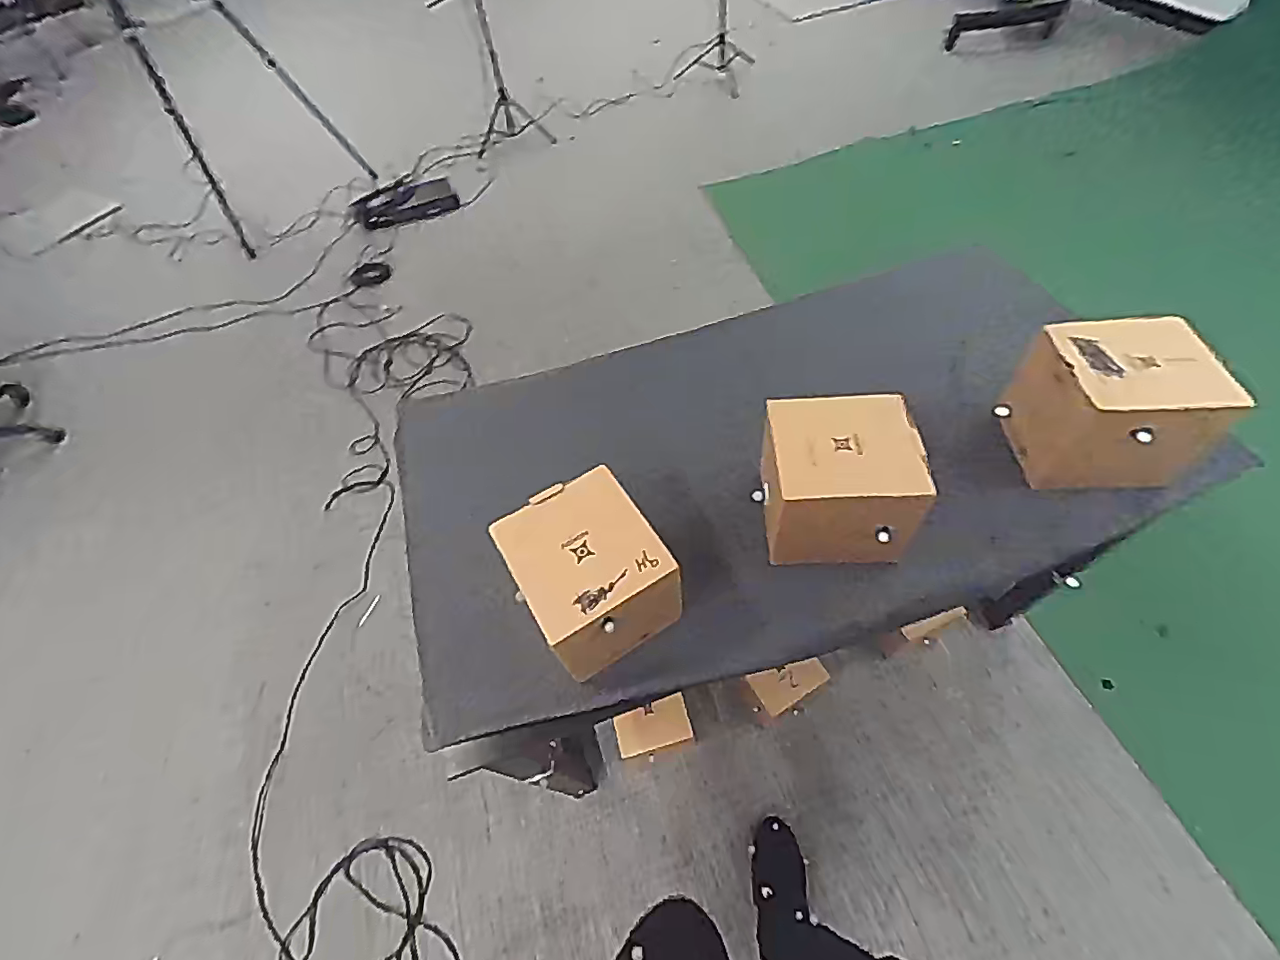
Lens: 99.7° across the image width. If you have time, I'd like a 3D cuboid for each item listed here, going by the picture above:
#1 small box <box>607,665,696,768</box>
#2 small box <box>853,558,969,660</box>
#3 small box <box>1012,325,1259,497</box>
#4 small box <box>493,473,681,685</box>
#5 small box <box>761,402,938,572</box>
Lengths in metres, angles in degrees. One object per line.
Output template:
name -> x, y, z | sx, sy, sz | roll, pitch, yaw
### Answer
small box -> 0.031, 0.564, 1.276 | 0.168, 0.176, 0.179 | -16, 55, -3
small box -> 0.665, 0.330, 1.350 | 0.168, 0.176, 0.179 | -22, 56, -9
small box -> 0.650, -0.089, 0.748 | 0.179, 0.176, 0.168 | -3, 53, 9
small box -> -0.061, 0.130, 0.693 | 0.168, 0.176, 0.179 | -29, 58, -13
small box -> 0.265, 0.015, 0.731 | 0.179, 0.176, 0.168 | -3, 53, 7
